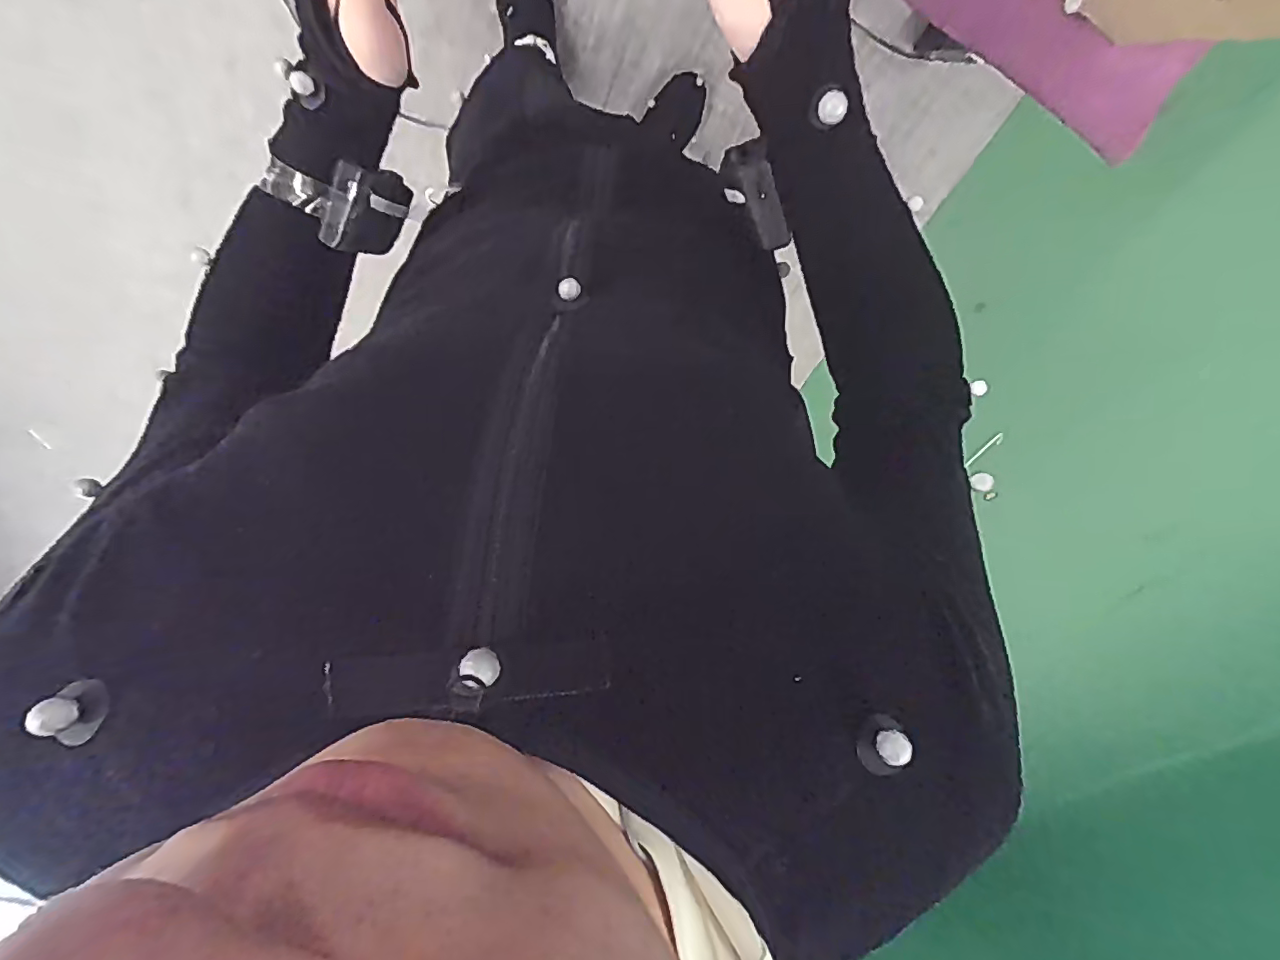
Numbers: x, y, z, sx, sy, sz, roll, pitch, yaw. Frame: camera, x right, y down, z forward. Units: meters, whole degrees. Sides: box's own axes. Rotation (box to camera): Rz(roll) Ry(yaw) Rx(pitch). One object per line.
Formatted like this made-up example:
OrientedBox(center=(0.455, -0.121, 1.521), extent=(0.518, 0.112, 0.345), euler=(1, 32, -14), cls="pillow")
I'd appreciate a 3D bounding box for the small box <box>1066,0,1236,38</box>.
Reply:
OrientedBox(center=(0.461, -0.508, 0.445), extent=(0.179, 0.176, 0.168), euler=(25, 125, -14), cls="small box")
